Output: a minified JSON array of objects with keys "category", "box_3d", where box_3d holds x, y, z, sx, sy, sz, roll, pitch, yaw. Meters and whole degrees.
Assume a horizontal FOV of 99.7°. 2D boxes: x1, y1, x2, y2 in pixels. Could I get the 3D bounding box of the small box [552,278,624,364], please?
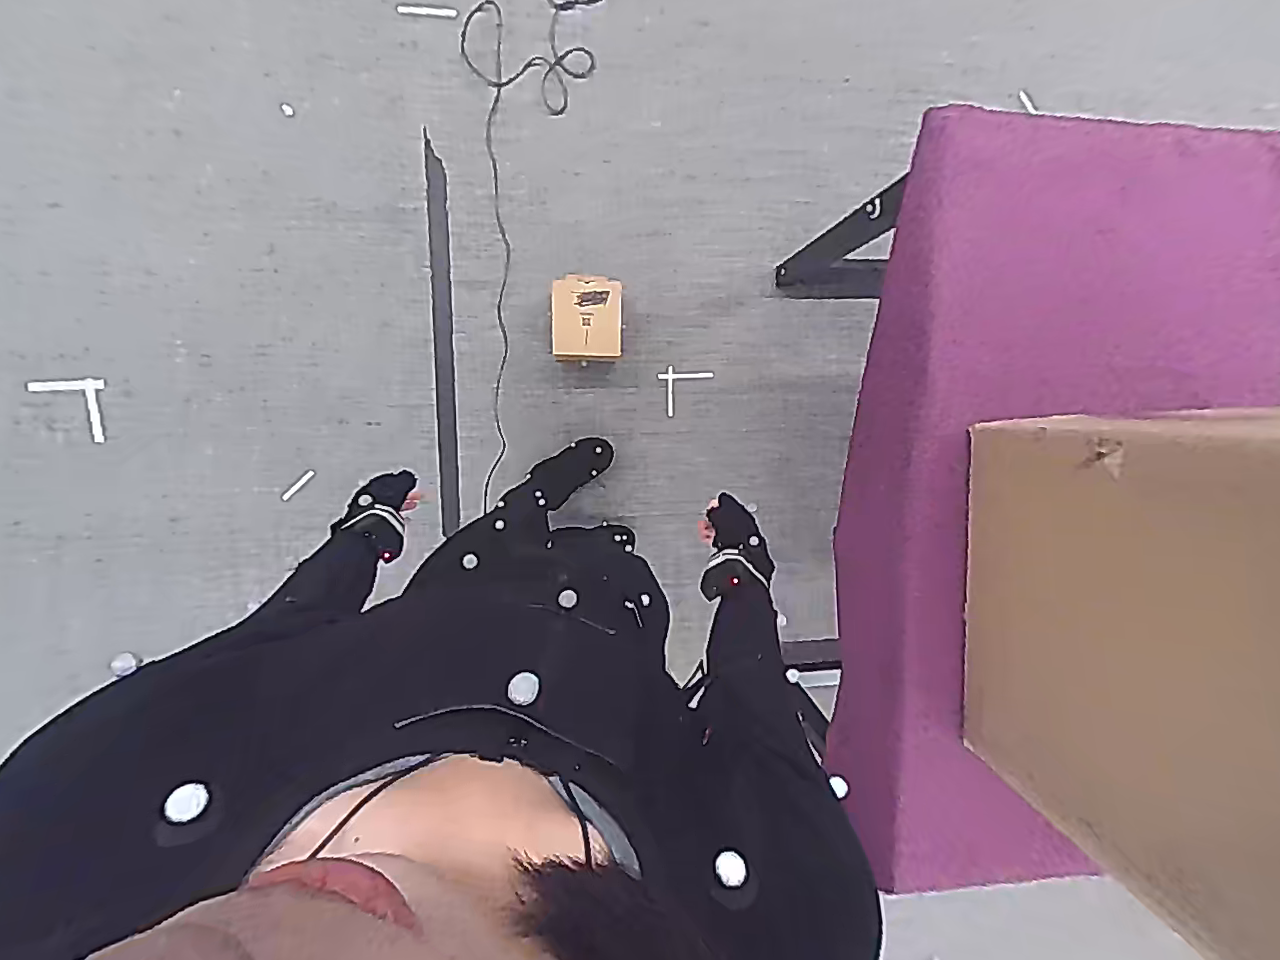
[{"category":"small box","box_3d":[-0.133,-0.392,1.353,0.168,0.176,0.179,1,97,-6]}]
